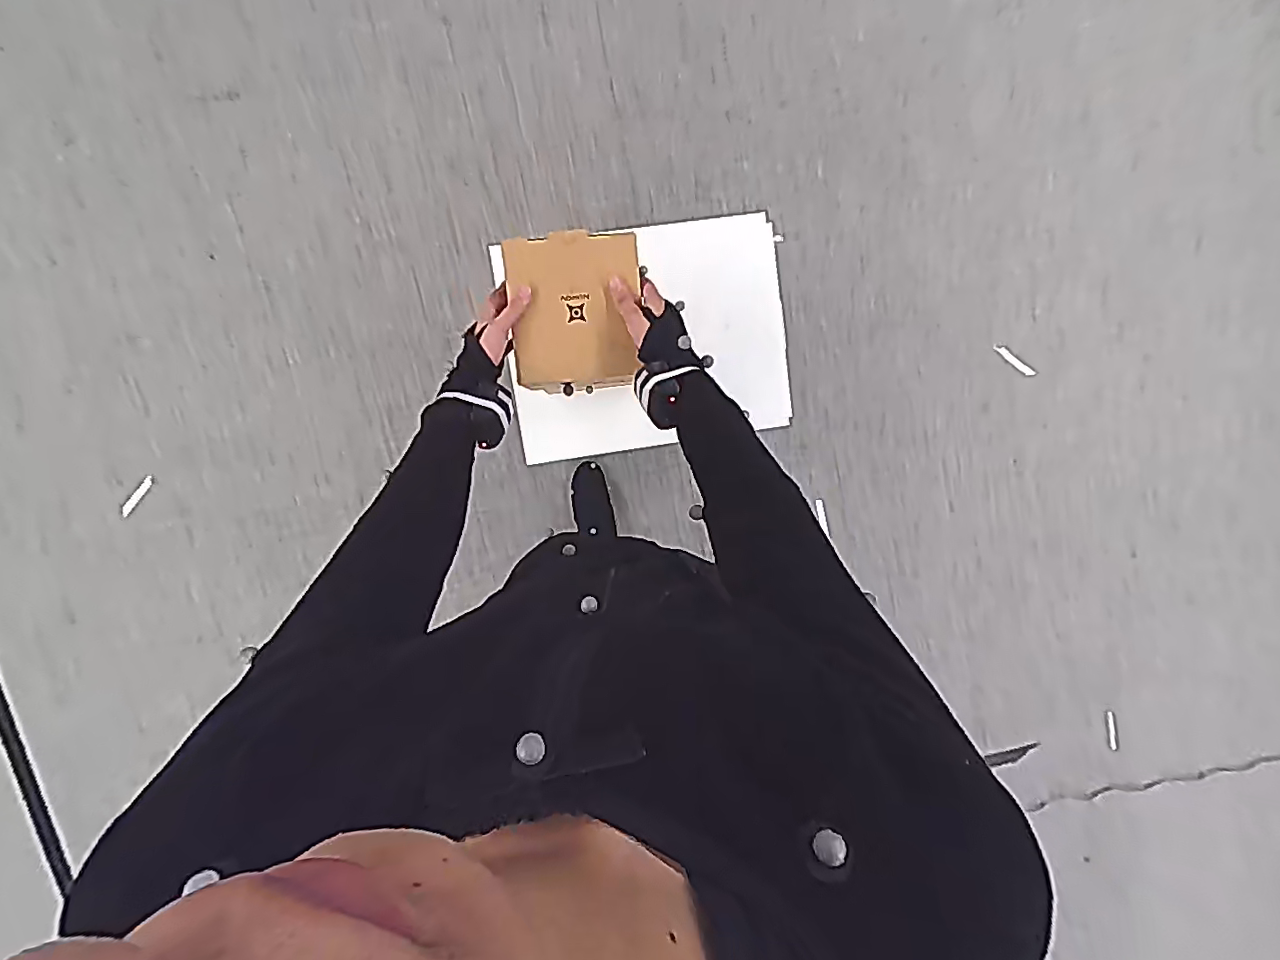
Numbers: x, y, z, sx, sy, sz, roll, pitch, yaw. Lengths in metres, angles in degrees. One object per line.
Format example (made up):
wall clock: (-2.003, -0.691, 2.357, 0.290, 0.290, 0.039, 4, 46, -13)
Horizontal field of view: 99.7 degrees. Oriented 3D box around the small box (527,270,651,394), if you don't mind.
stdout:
small box: (-0.084, -0.239, 0.908, 0.179, 0.176, 0.168, -8, 97, -6)
